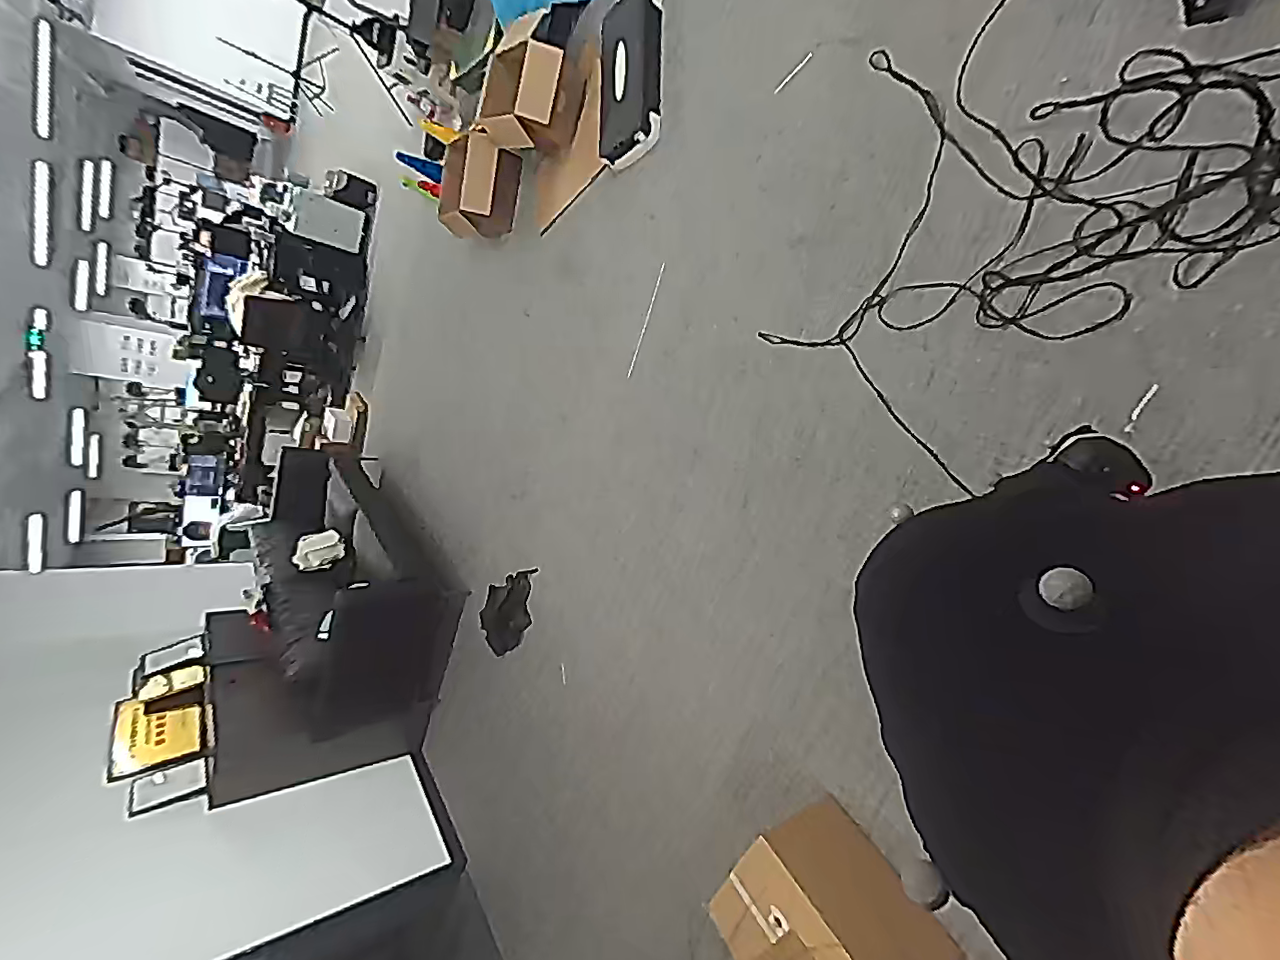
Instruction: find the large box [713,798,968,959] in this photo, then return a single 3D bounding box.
[{"bbox_3d":[0.459,1.073,1.285,0.408,0.320,0.320,45,119,43],"label":"large box"}]
